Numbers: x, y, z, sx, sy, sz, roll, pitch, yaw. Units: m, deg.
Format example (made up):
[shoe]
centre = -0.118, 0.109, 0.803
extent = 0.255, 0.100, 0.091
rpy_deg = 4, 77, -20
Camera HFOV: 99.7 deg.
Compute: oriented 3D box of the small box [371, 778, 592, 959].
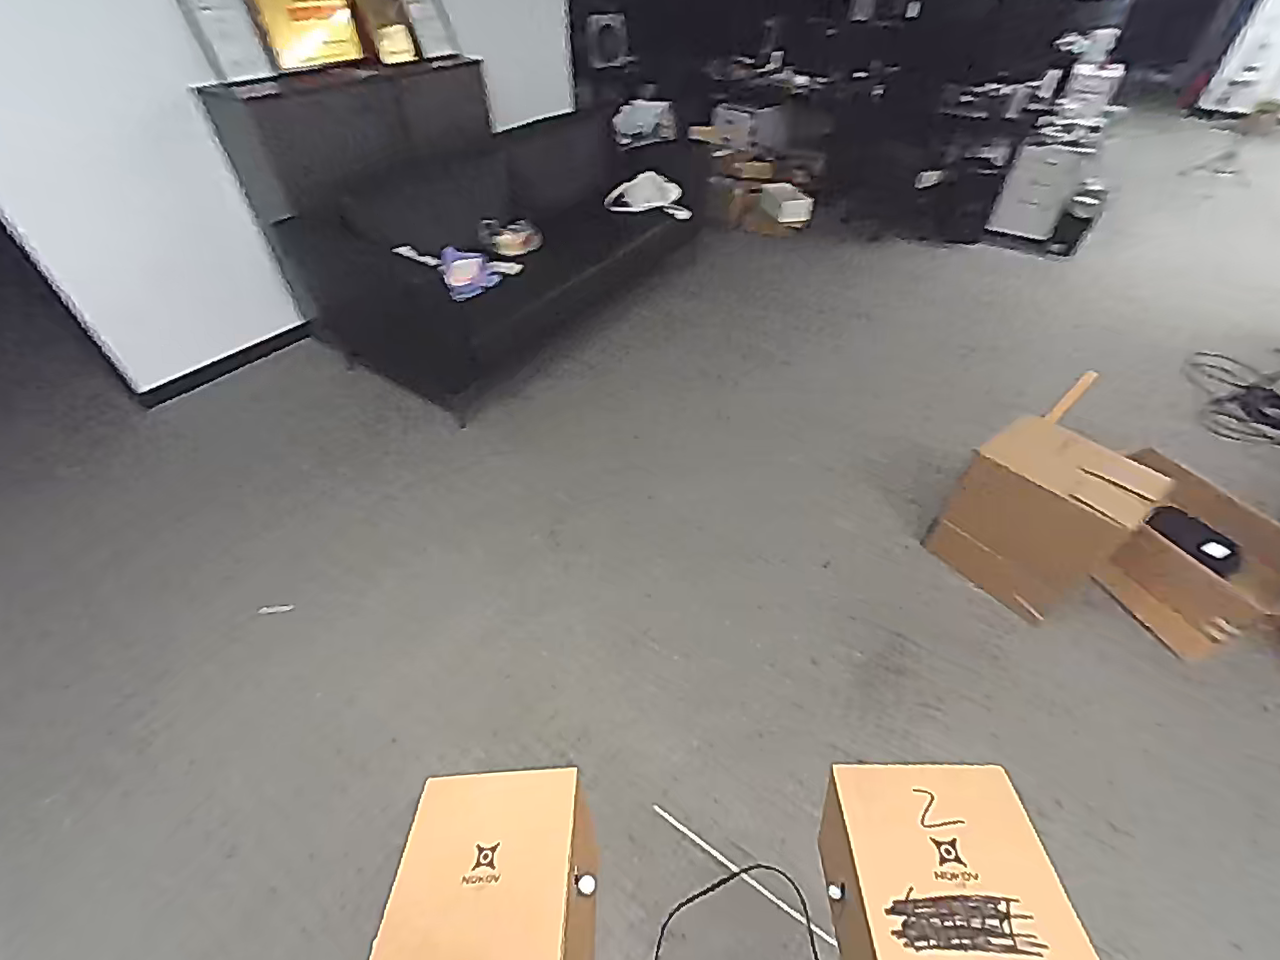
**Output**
[small box]
centre = -0.143, 0.441, 0.553
extent = 0.168, 0.176, 0.179
rpy_deg = -6, 32, 1
